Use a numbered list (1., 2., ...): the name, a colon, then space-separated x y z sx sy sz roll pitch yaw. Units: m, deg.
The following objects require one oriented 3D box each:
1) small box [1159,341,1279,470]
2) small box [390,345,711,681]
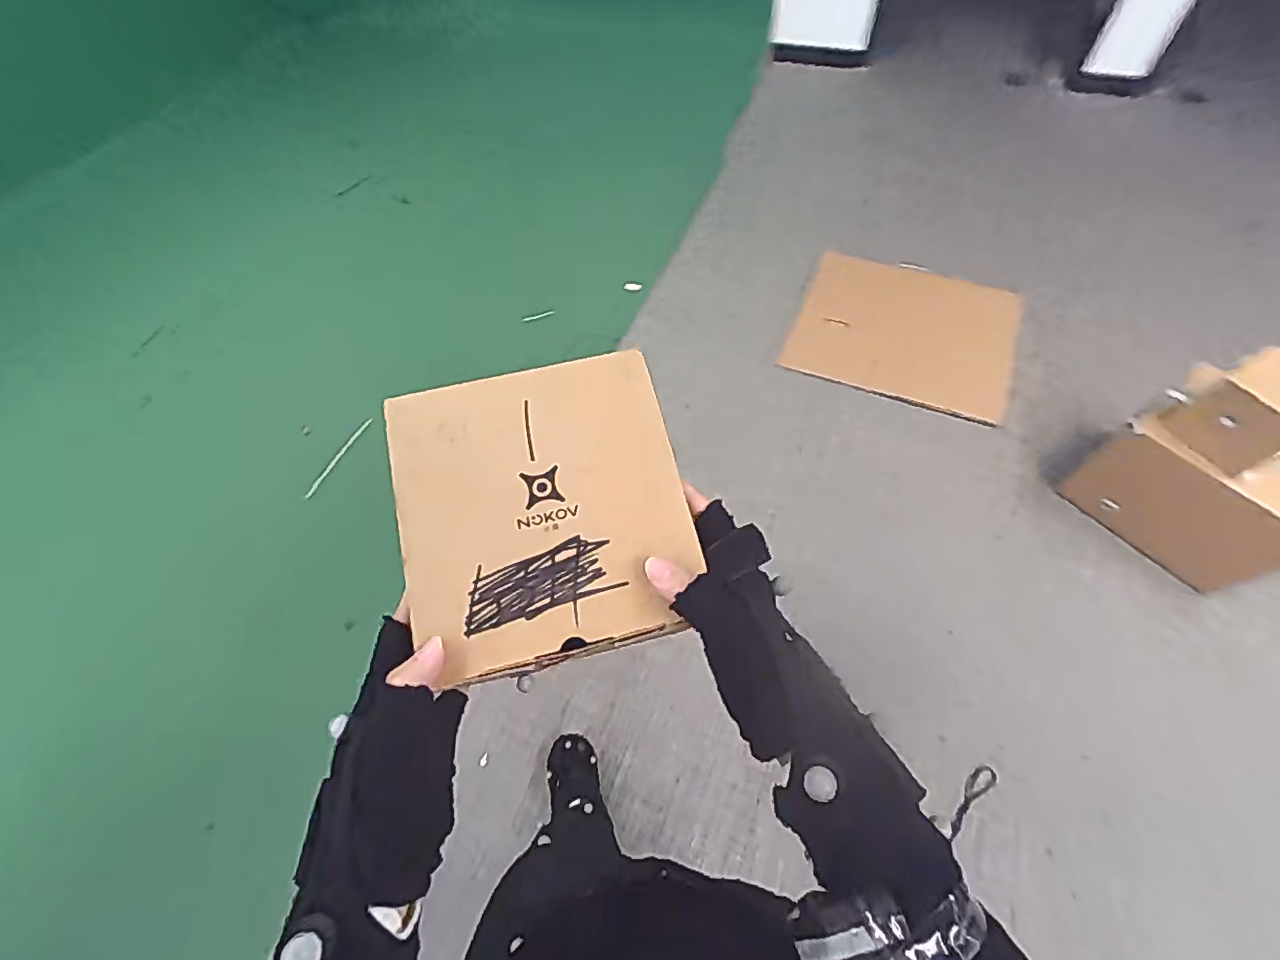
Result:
1. small box: 1.287 -0.154 1.150 0.168 0.176 0.179 -31 63 -14
2. small box: -0.059 0.032 0.404 0.168 0.176 0.179 -16 74 -6
